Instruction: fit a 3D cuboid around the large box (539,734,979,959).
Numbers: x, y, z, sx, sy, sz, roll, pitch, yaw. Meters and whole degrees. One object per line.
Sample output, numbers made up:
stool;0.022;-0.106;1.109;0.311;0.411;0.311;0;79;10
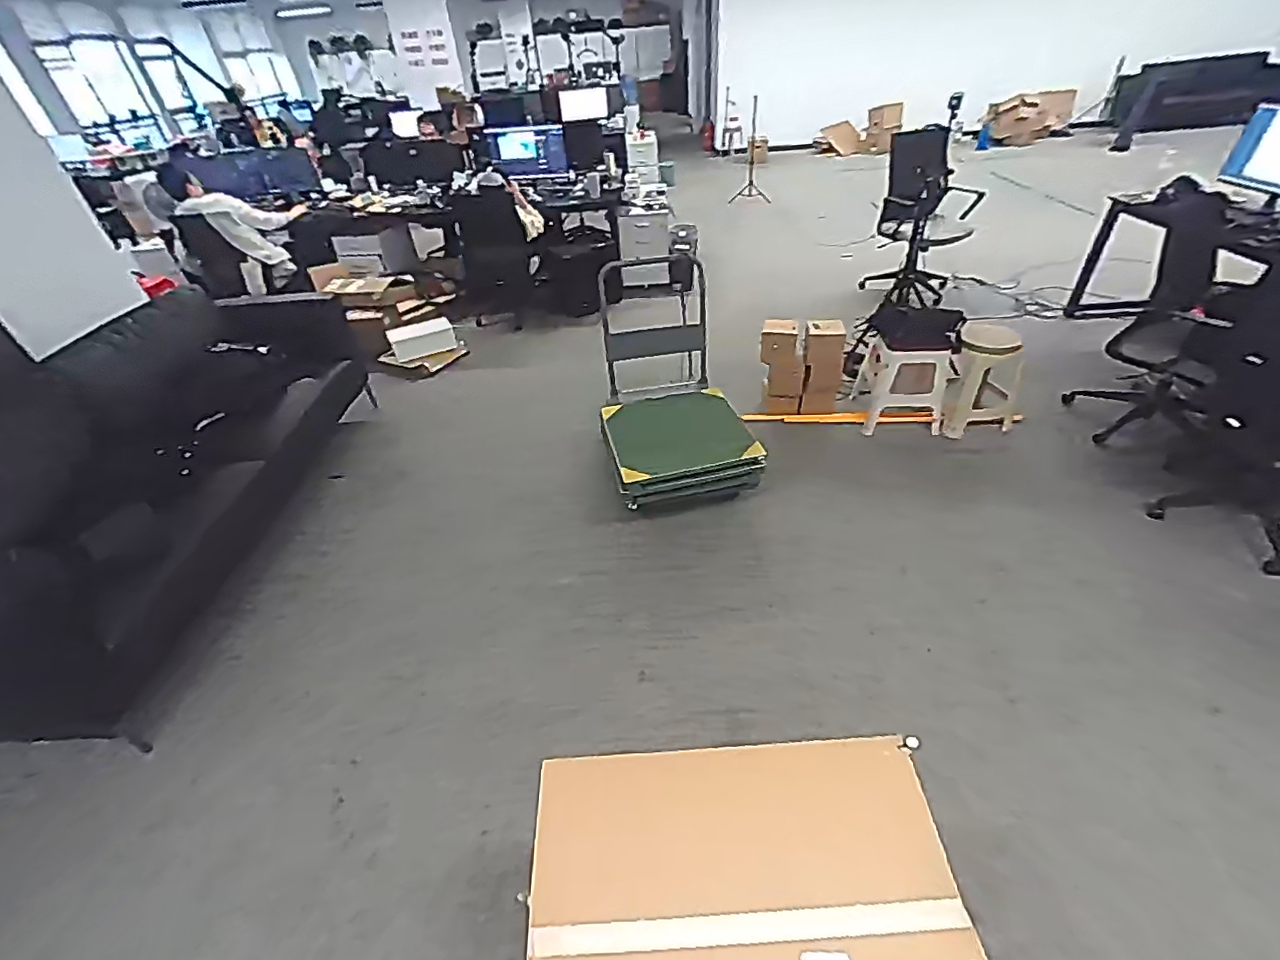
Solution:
large box;0.110;0.520;0.612;0.408;0.320;0.320;-5;47;0
